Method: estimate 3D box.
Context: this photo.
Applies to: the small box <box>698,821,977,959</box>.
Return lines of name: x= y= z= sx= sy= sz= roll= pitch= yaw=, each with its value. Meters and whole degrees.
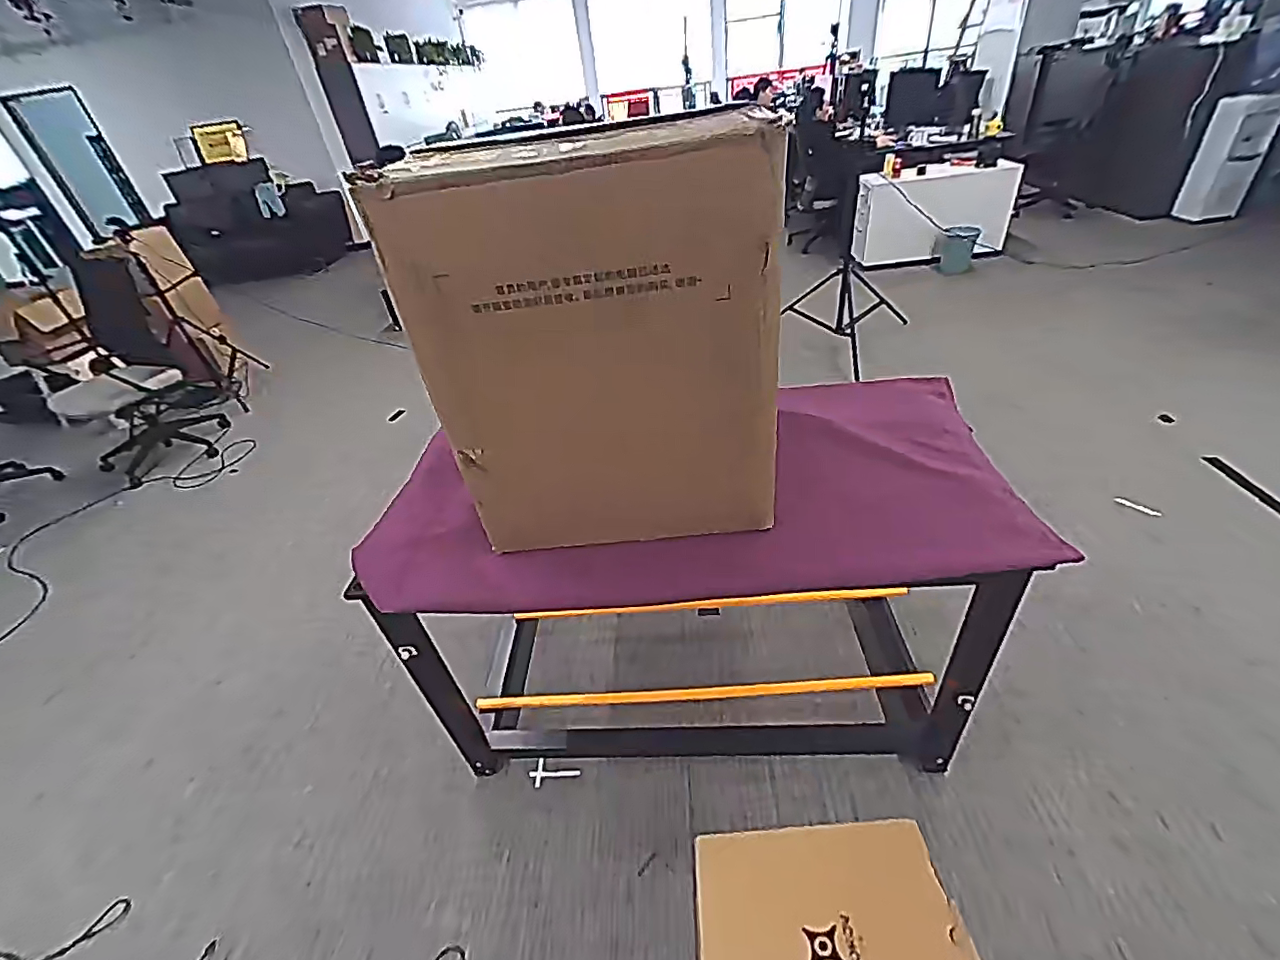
small box: x=0.144 y=0.385 z=0.387 sx=0.179 sy=0.176 sz=0.168 roll=-9 pitch=21 yaw=7
